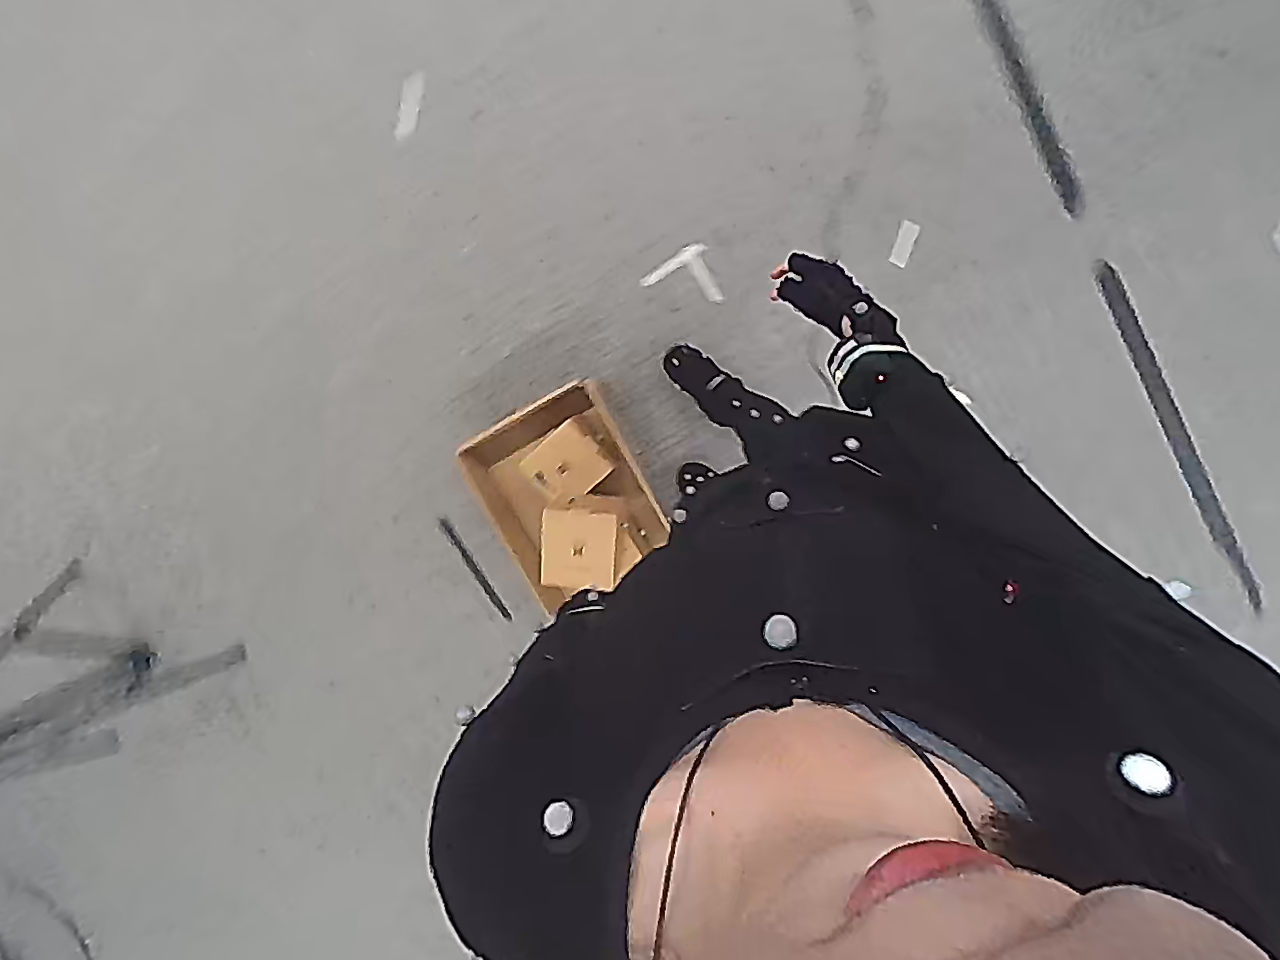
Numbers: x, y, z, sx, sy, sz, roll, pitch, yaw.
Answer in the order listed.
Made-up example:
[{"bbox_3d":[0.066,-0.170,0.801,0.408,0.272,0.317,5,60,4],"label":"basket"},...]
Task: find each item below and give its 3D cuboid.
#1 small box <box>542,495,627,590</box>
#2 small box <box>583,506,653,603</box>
[{"bbox_3d":[-0.124,0.136,1.251,0.168,0.176,0.179,3,102,6],"label":"small box"},{"bbox_3d":[-0.079,0.189,1.422,0.179,0.176,0.168,-32,95,9],"label":"small box"}]
